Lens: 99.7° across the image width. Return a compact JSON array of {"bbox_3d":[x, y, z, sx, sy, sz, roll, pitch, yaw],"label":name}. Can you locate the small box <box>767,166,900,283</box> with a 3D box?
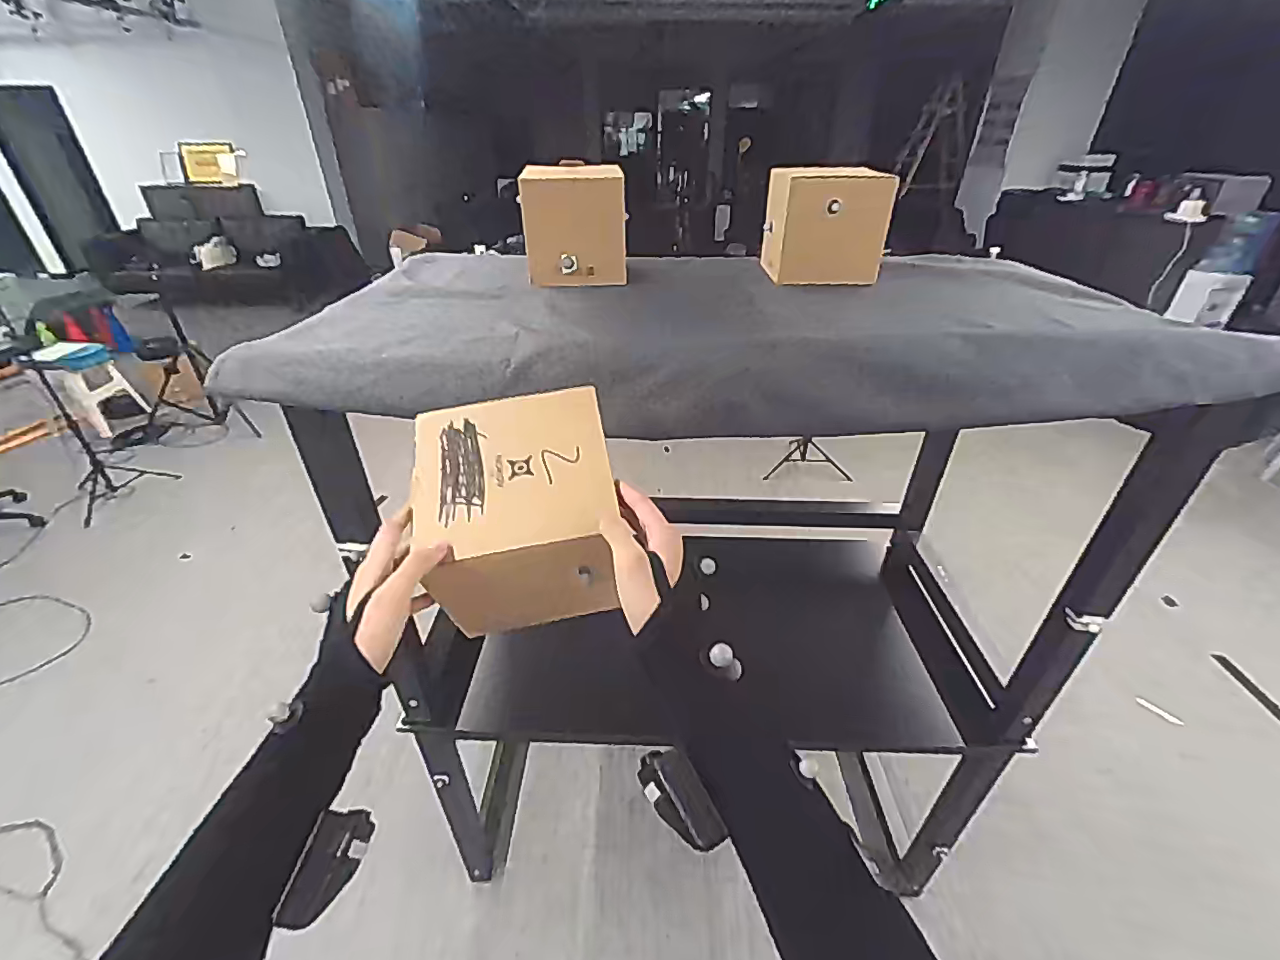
[{"bbox_3d":[0.327,-0.453,0.957,0.179,0.176,0.168,1,34,1],"label":"small box"}]

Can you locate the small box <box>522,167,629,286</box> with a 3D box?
[{"bbox_3d":[-0.107,-0.447,0.948,0.168,0.176,0.179,-4,34,-4],"label":"small box"}]
